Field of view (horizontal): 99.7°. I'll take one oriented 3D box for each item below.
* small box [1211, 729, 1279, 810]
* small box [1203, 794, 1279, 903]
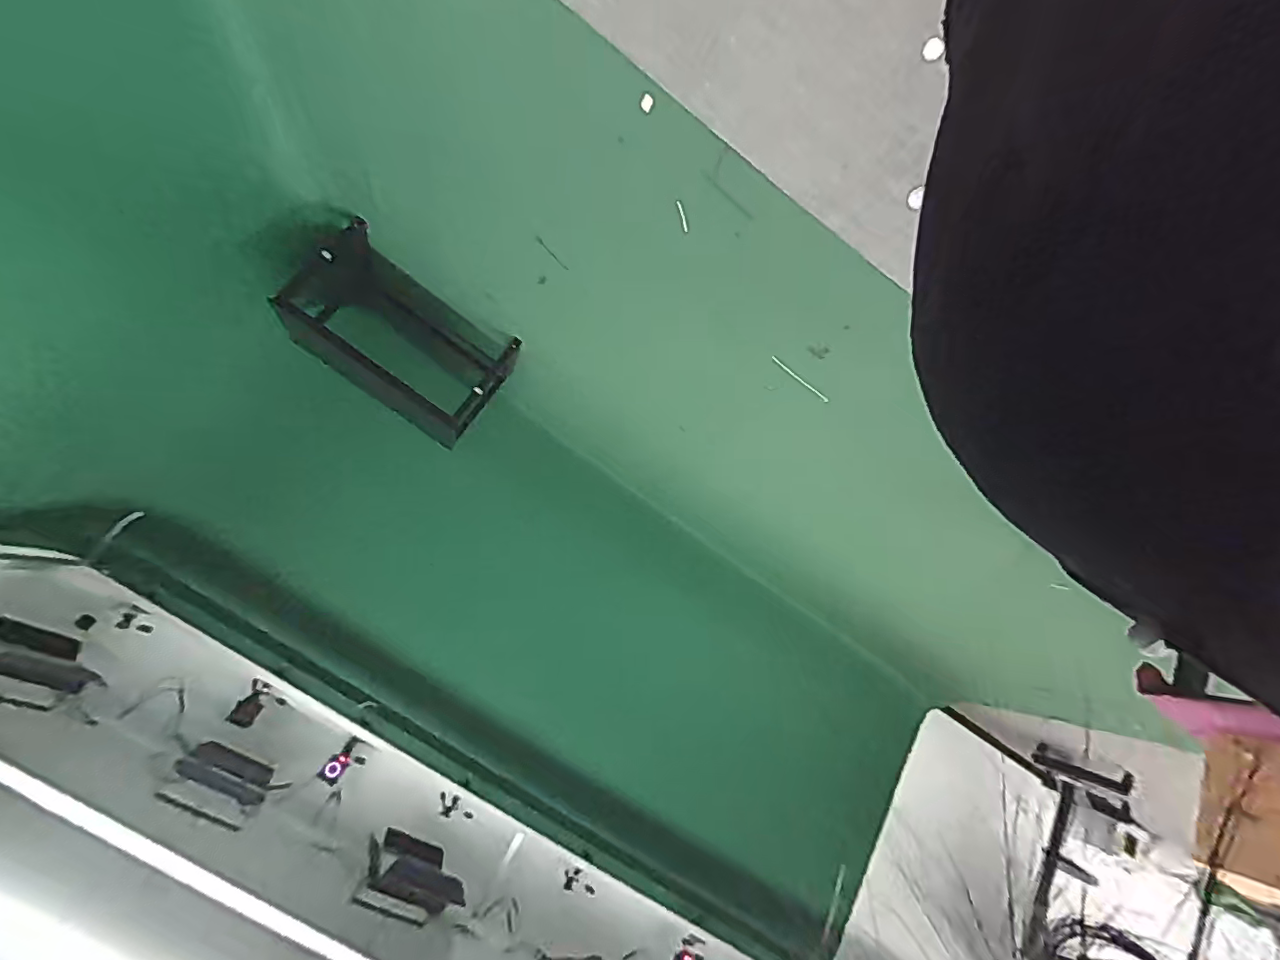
[{"bbox_3d":[1.550,0.737,1.305,0.179,0.176,0.168,35,160,-8],"label":"small box"},{"bbox_3d":[1.471,0.867,1.246,0.179,0.176,0.168,34,160,-6],"label":"small box"}]
